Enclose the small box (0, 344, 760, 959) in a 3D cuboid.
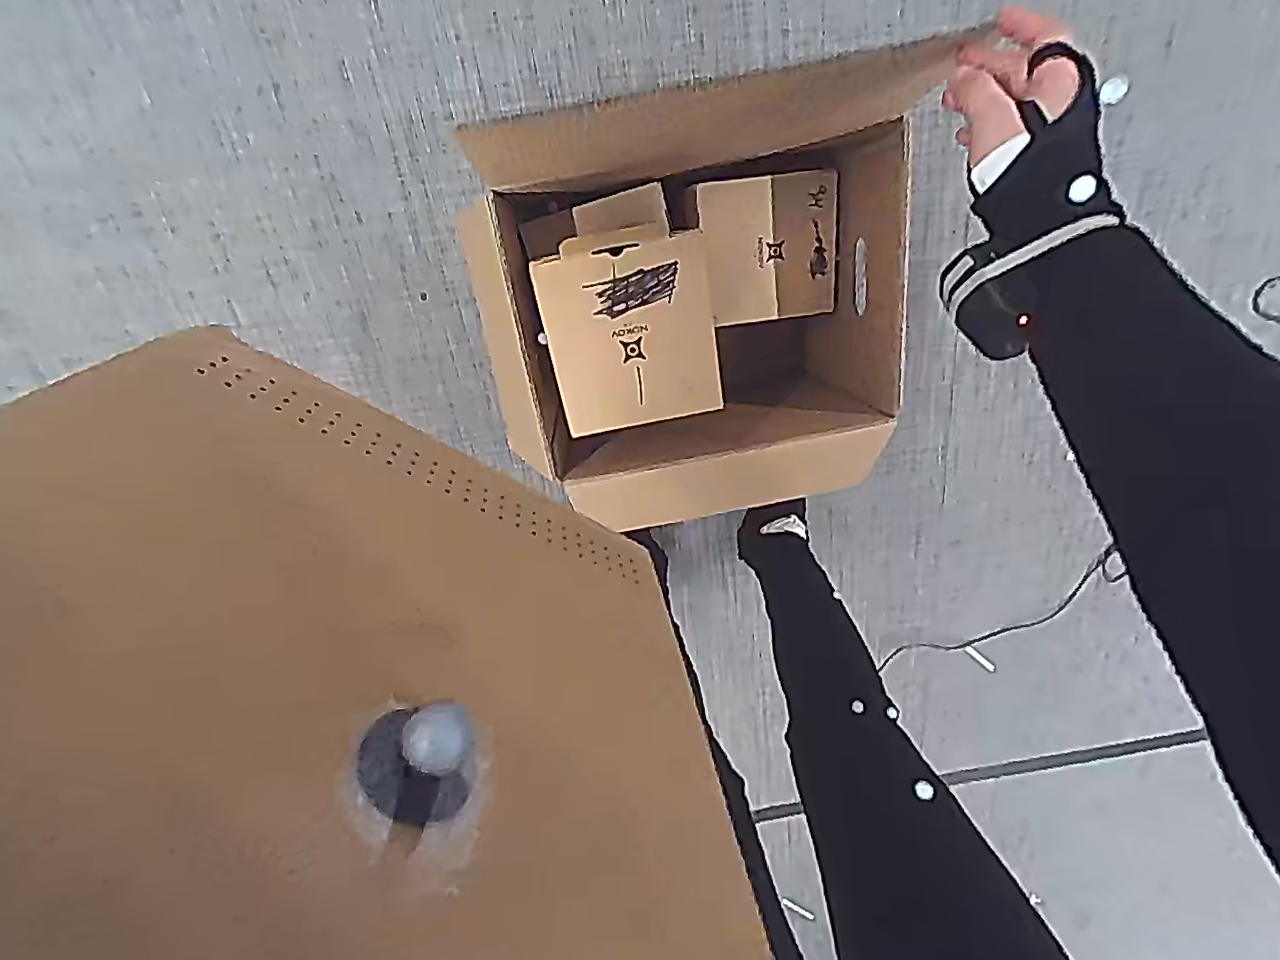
[{"bbox_3d":[-0.094,0.087,0.149,0.179,0.176,0.168,30,108,-24],"label":"small box"}]
